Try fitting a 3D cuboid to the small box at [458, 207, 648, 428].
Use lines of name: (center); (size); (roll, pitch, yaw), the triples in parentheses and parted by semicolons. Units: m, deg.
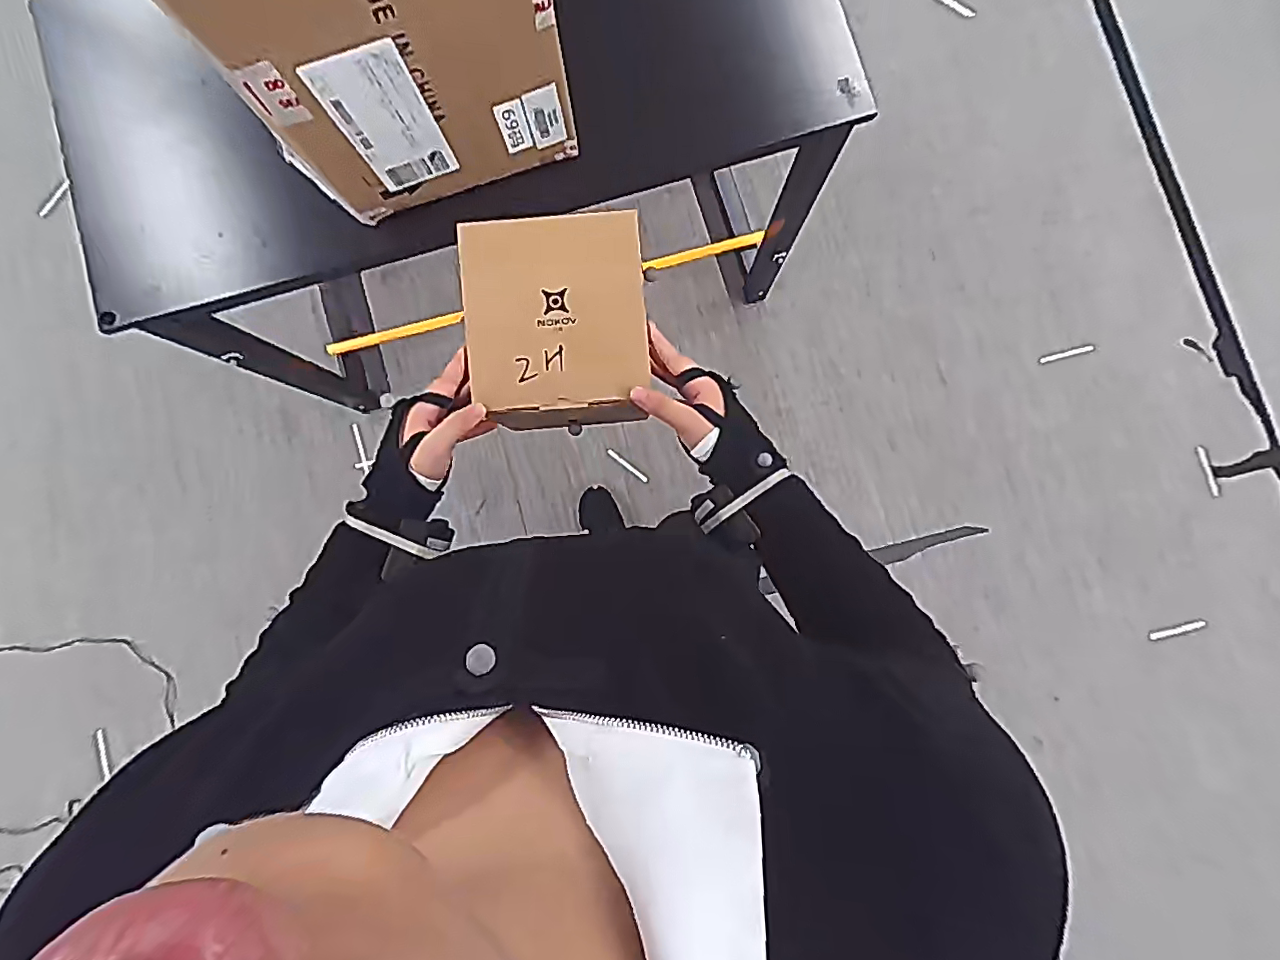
small box: (-0.081, -0.157, 0.570); (0.168, 0.176, 0.179); (-4, 89, 0)
